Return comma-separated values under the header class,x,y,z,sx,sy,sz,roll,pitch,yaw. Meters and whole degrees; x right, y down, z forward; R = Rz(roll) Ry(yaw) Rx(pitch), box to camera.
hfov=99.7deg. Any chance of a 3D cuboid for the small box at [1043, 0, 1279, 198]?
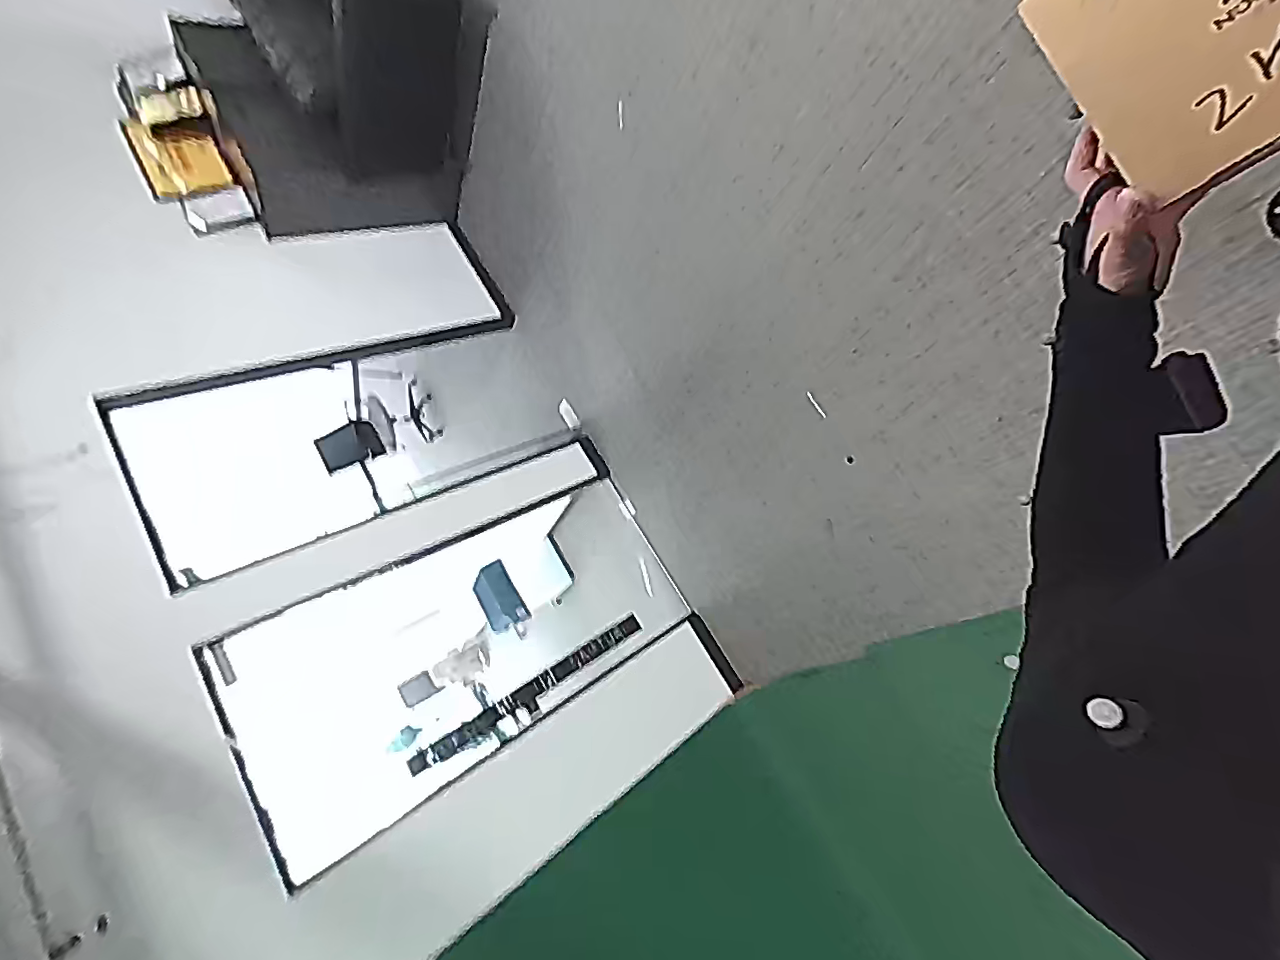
class,x,y,z,sx,sy,sz,roll,pitch,yaw
small box,0.413,-0.317,0.350,0.179,0.176,0.168,63,148,2
